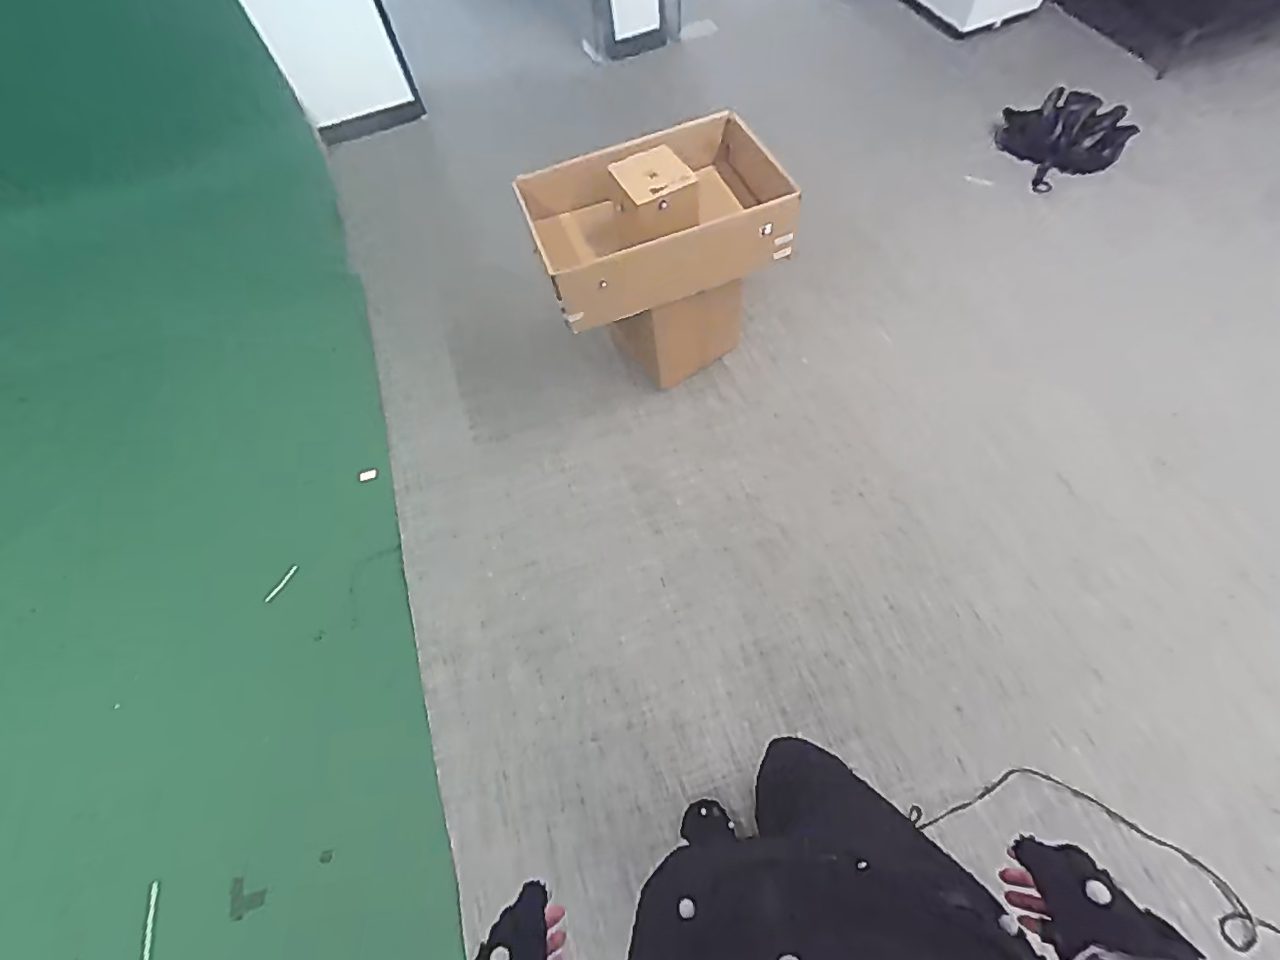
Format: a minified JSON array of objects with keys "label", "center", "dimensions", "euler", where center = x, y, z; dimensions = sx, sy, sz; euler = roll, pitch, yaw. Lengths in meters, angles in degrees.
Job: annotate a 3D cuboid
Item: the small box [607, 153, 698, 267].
[{"label":"small box","center":[0.035,-0.679,1.369],"dimensions":[0.168,0.176,0.179],"euler":[-27,62,-7]}]
